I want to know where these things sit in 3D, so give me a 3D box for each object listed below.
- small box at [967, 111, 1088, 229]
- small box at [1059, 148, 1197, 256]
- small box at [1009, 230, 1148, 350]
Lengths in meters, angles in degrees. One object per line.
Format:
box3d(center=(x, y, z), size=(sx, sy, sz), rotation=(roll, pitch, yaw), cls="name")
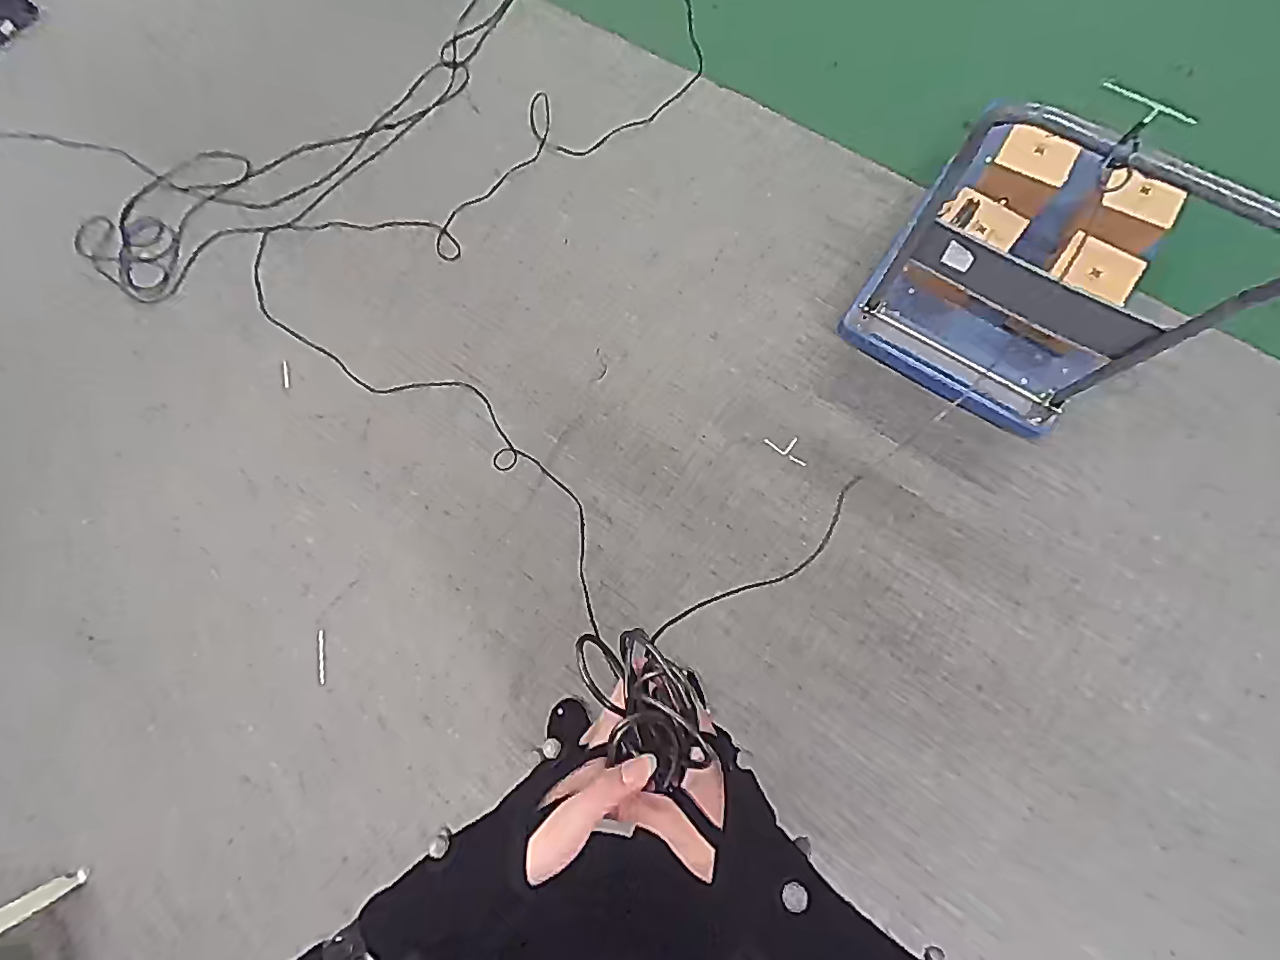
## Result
box3d(center=(0.983, -0.789, 1.393), size=(0.168, 0.176, 0.179), rotation=(30, 80, 11), cls="small box")
box3d(center=(1.198, -0.667, 1.343), size=(0.168, 0.176, 0.179), rotation=(30, 81, 12), cls="small box")
box3d(center=(1.042, -0.450, 1.303), size=(0.168, 0.176, 0.179), rotation=(35, 82, 12), cls="small box")
